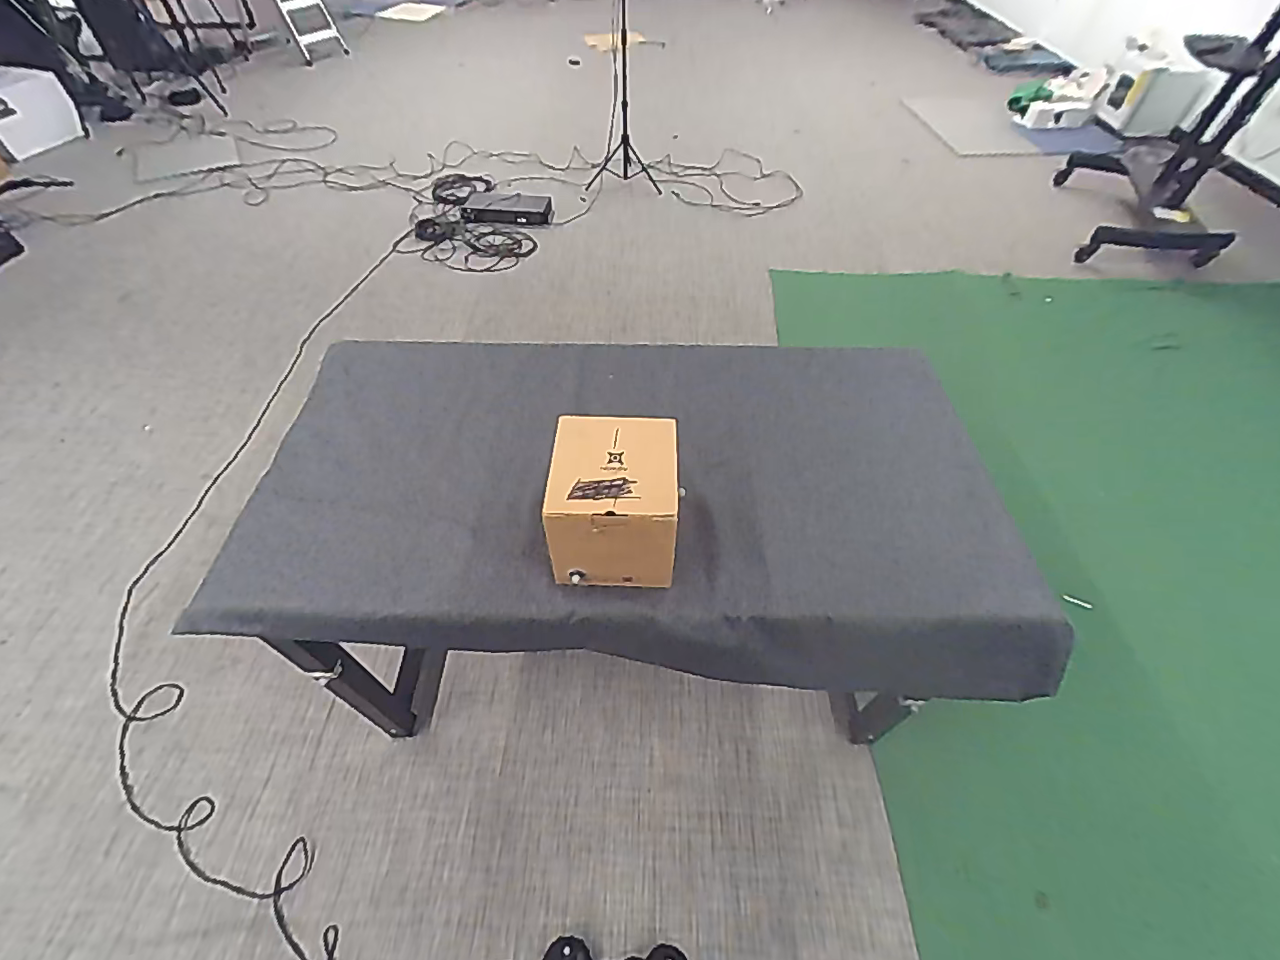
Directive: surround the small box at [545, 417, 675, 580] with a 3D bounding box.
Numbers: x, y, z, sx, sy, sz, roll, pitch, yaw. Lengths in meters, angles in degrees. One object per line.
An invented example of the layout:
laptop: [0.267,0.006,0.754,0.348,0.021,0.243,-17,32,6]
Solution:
small box: [-0.034,0.030,0.783,0.168,0.176,0.179,2,49,1]
